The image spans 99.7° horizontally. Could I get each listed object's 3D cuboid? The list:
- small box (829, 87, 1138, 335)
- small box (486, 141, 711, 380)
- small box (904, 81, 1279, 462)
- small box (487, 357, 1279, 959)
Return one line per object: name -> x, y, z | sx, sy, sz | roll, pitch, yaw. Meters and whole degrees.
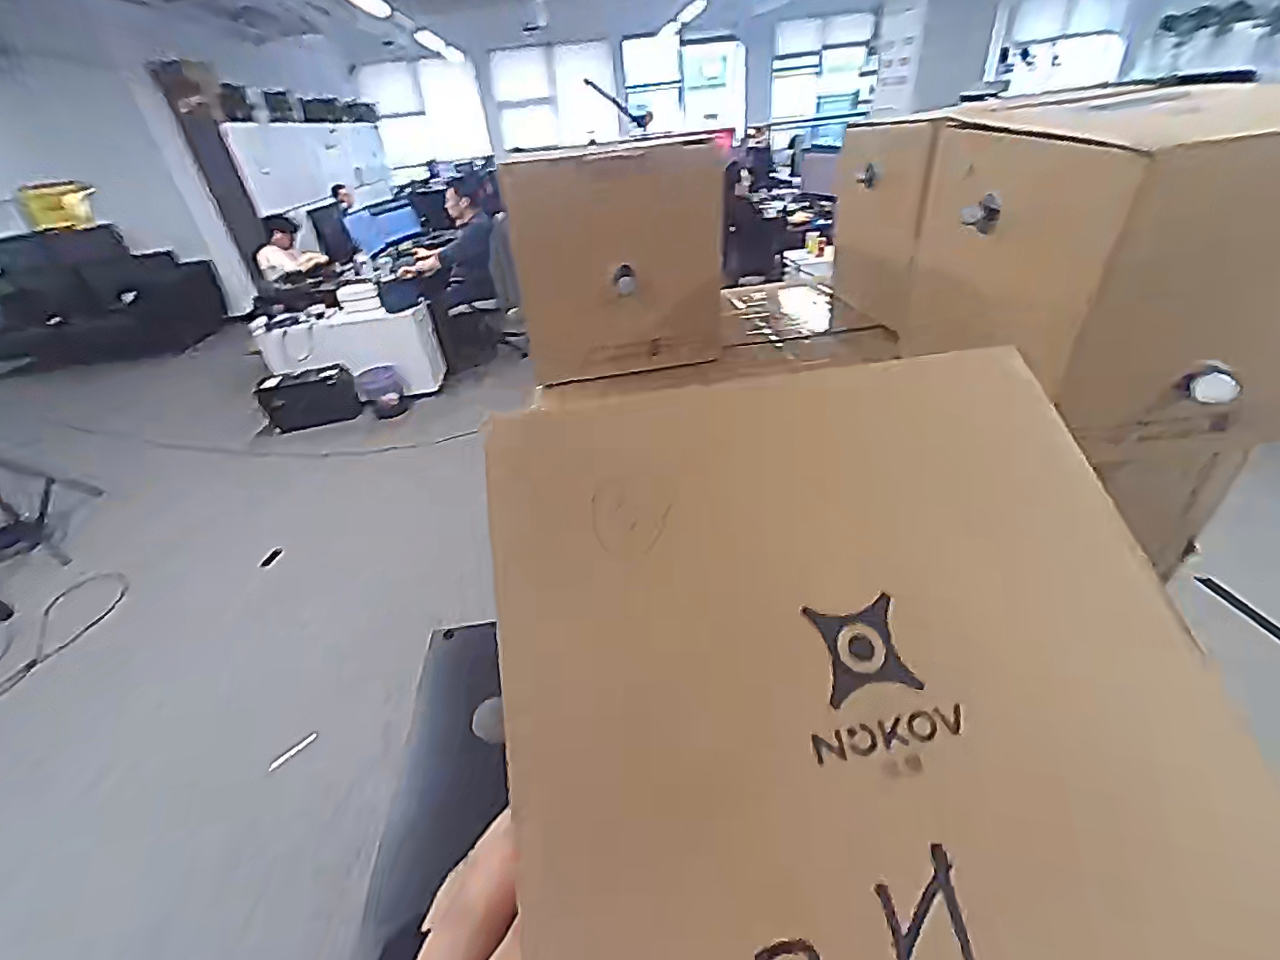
small box -> 0.287, -0.247, 0.506 | 0.168, 0.176, 0.179 | -9, 33, 1
small box -> -0.036, -0.200, 0.497 | 0.168, 0.176, 0.179 | -11, 34, -7
small box -> 0.287, -0.130, 0.335 | 0.168, 0.176, 0.179 | -8, 37, 3
small box -> 0.047, 0.083, 0.199 | 0.168, 0.176, 0.179 | -9, 66, -5
